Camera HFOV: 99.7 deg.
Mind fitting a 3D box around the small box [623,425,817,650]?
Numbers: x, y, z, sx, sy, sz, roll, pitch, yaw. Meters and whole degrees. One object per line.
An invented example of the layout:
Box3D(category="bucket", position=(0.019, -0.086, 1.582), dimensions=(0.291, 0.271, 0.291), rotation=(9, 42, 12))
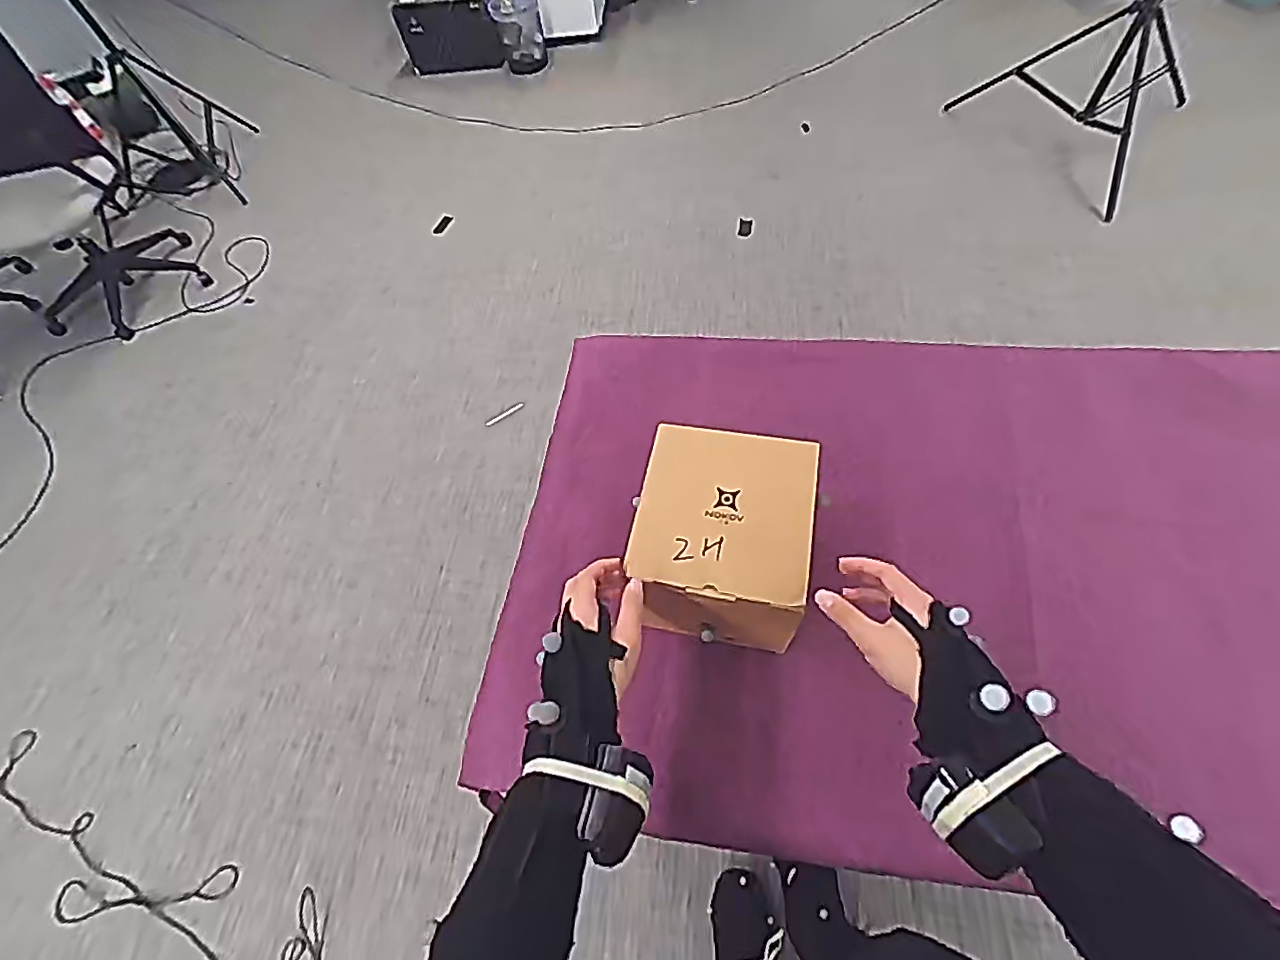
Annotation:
Box3D(category="small box", position=(0.089, 0.066, 0.589), dimensions=(0.168, 0.176, 0.179), rotation=(8, 61, 12))
